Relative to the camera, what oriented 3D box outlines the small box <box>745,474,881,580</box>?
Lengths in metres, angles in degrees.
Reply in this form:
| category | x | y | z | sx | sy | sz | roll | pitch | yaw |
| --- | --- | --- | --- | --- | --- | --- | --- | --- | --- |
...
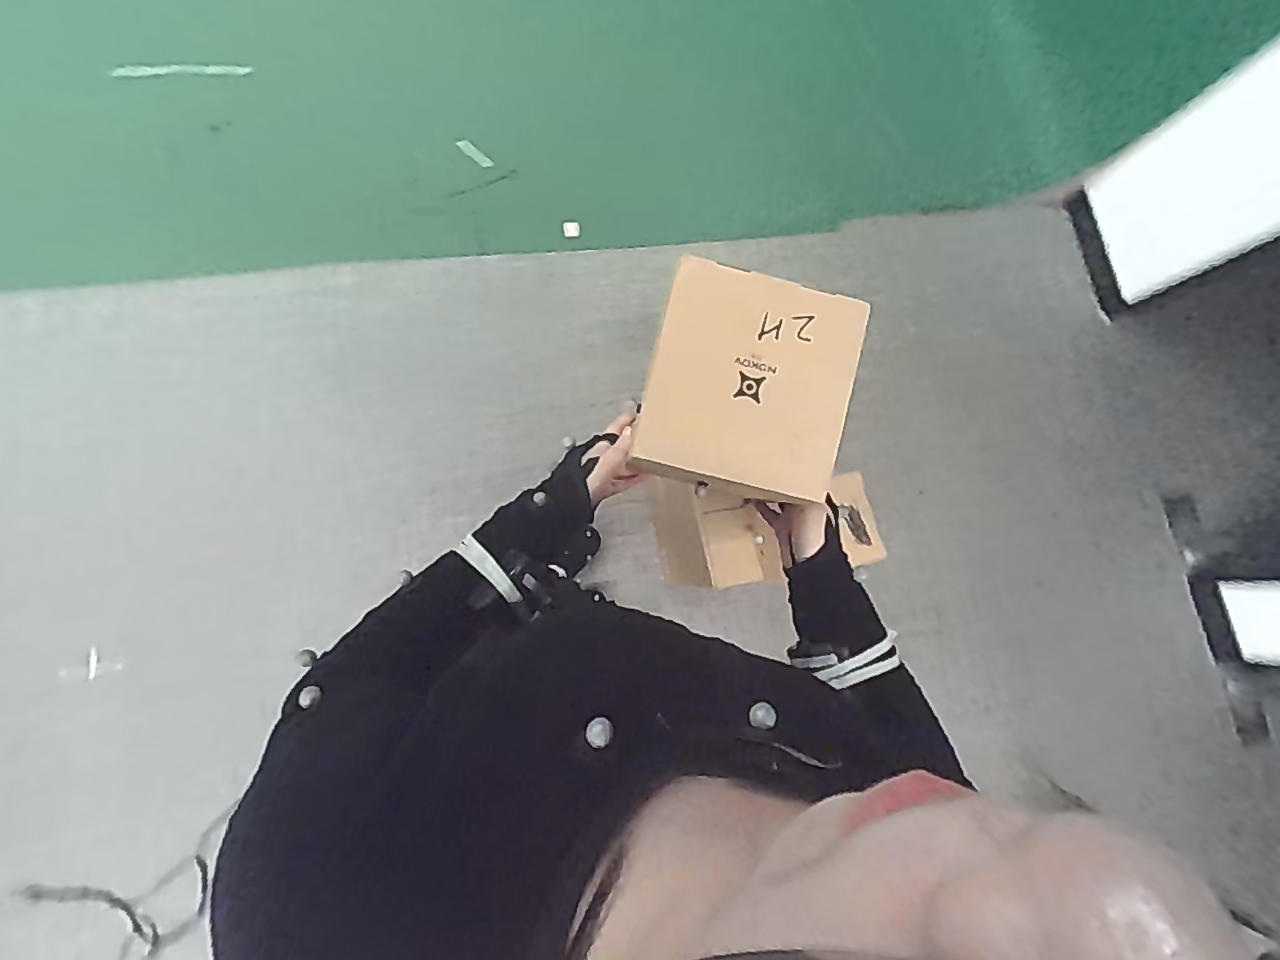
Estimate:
| category | x | y | z | sx | sy | sz | roll | pitch | yaw |
| --- | --- | --- | --- | --- | --- | --- | --- | --- | --- |
| small box | 0.332 | 0.096 | 1.066 | 0.179 | 0.176 | 0.168 | -12 | 81 | -10 |

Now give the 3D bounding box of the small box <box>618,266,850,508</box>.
| category | x | y | z | sx | sy | sz | roll | pitch | yaw |
| --- | --- | --- | --- | --- | --- | --- | --- | --- | --- |
| small box | 0.077 | -0.077 | 0.536 | 0.168 | 0.176 | 0.179 | 14 | 88 | -3 |
